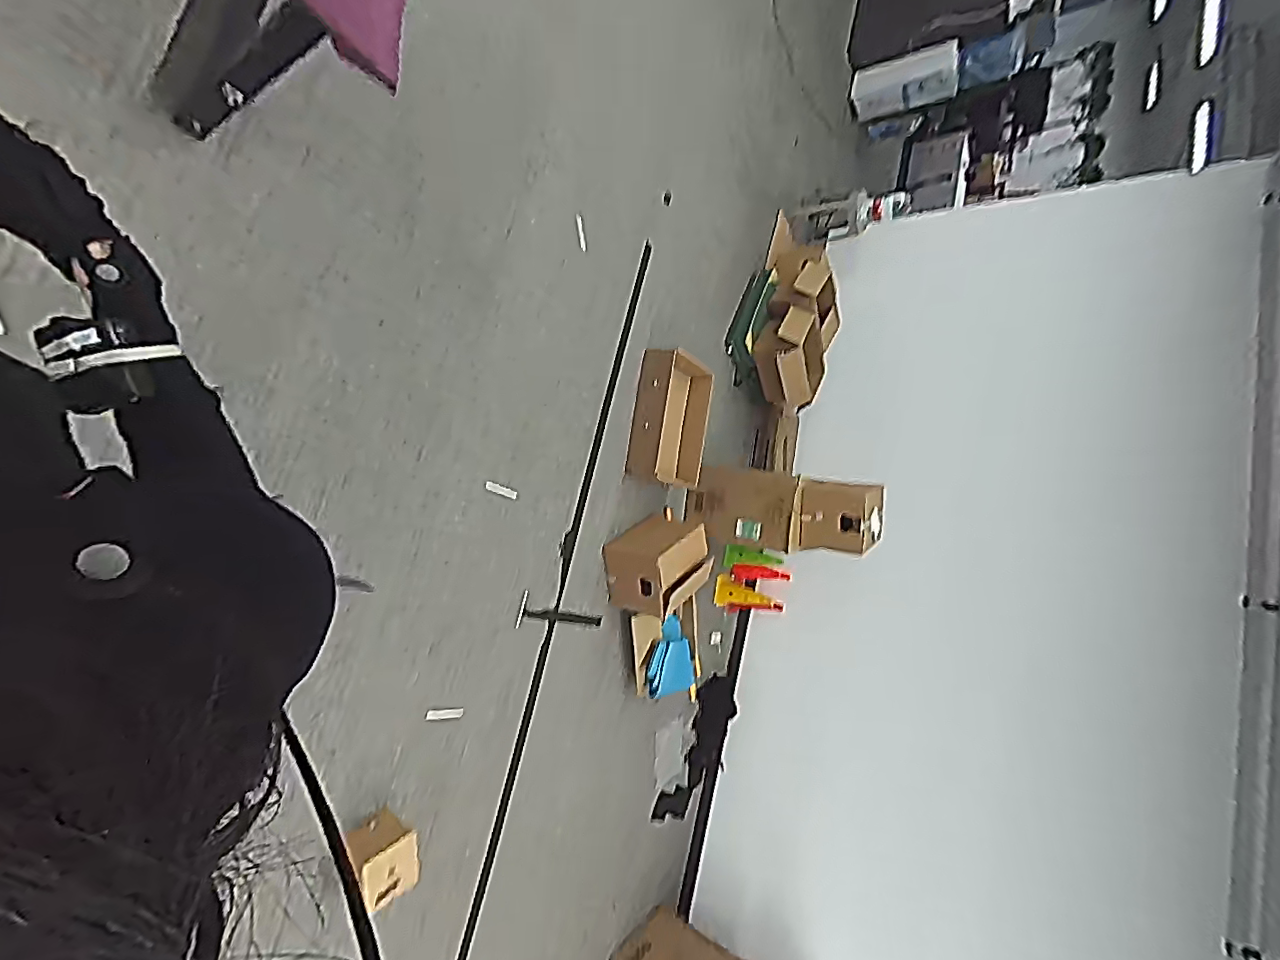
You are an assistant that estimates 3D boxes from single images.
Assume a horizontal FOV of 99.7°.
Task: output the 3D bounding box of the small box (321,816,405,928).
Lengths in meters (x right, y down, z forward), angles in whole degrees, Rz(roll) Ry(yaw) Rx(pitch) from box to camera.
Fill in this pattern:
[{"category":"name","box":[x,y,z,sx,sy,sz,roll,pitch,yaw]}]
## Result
[{"category":"small box","box":[-0.819,1.148,1.601,0.168,0.176,0.179,-10,103,-54]}]
